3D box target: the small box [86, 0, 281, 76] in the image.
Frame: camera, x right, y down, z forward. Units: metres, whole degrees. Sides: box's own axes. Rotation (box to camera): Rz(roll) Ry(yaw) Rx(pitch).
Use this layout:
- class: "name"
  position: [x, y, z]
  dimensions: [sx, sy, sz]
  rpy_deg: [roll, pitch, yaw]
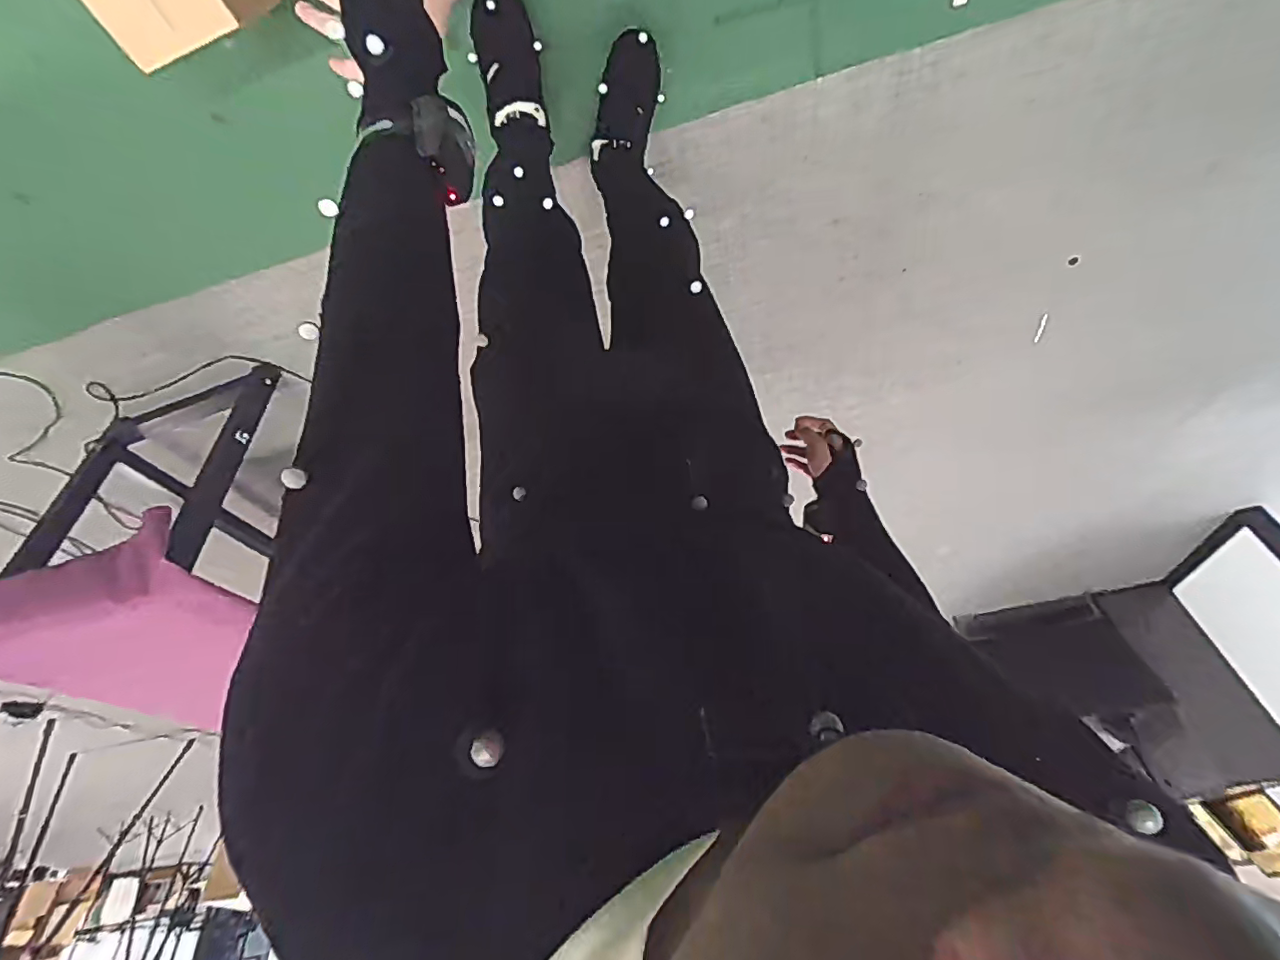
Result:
- class: "small box"
  position: [-0.638, -0.696, 0.729]
  dimensions: [0.168, 0.176, 0.179]
  rpy_deg: [-15, 141, 11]
